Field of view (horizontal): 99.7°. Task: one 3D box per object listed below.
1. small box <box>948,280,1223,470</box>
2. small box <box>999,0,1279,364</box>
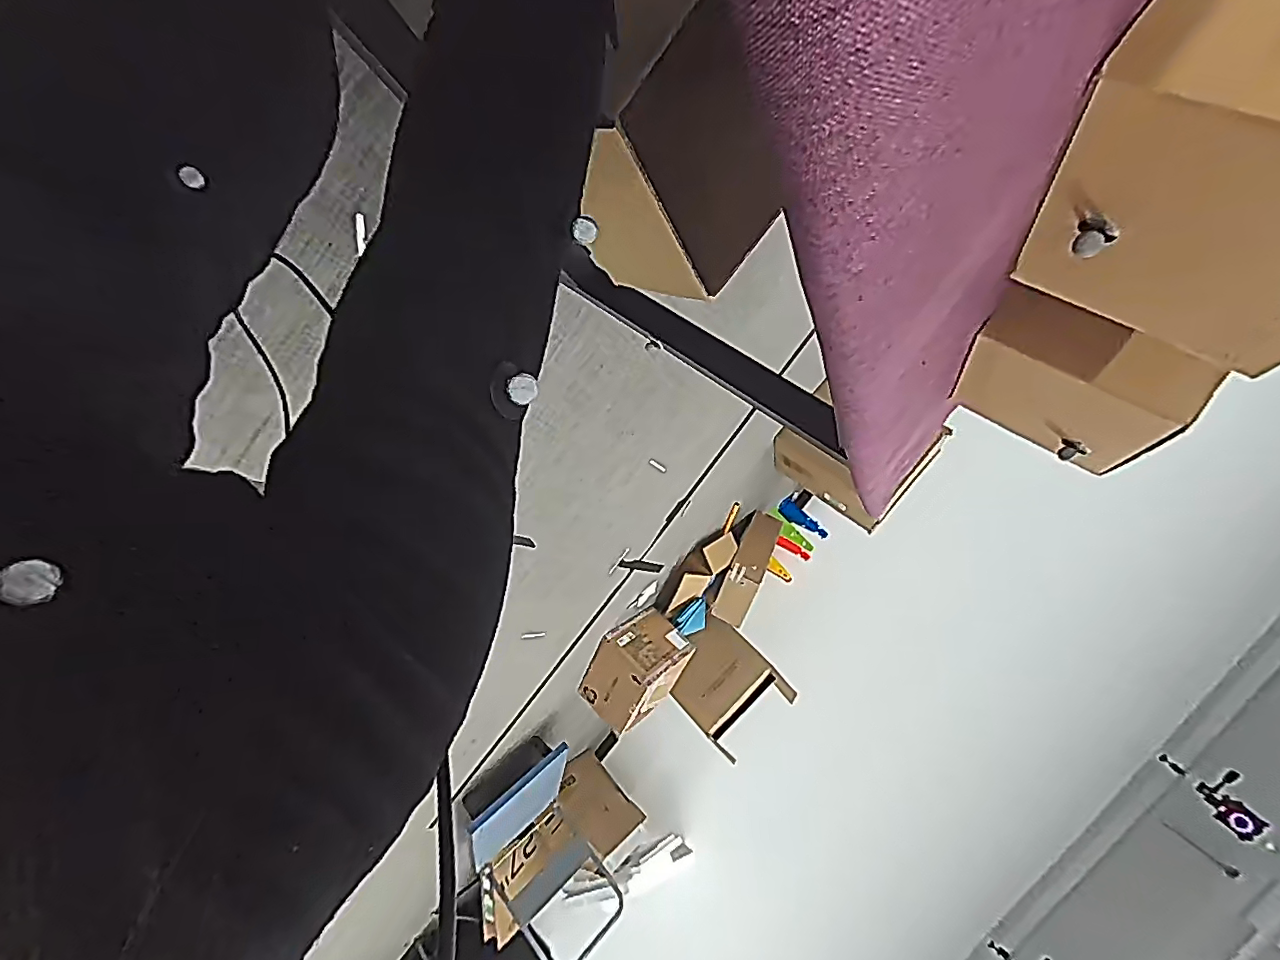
[{"bbox_3d":[0.439,-0.137,0.535,0.168,0.176,0.179,-54,155,2],"label":"small box"},{"bbox_3d":[0.358,-0.199,0.311,0.168,0.176,0.179,-53,155,2],"label":"small box"}]
